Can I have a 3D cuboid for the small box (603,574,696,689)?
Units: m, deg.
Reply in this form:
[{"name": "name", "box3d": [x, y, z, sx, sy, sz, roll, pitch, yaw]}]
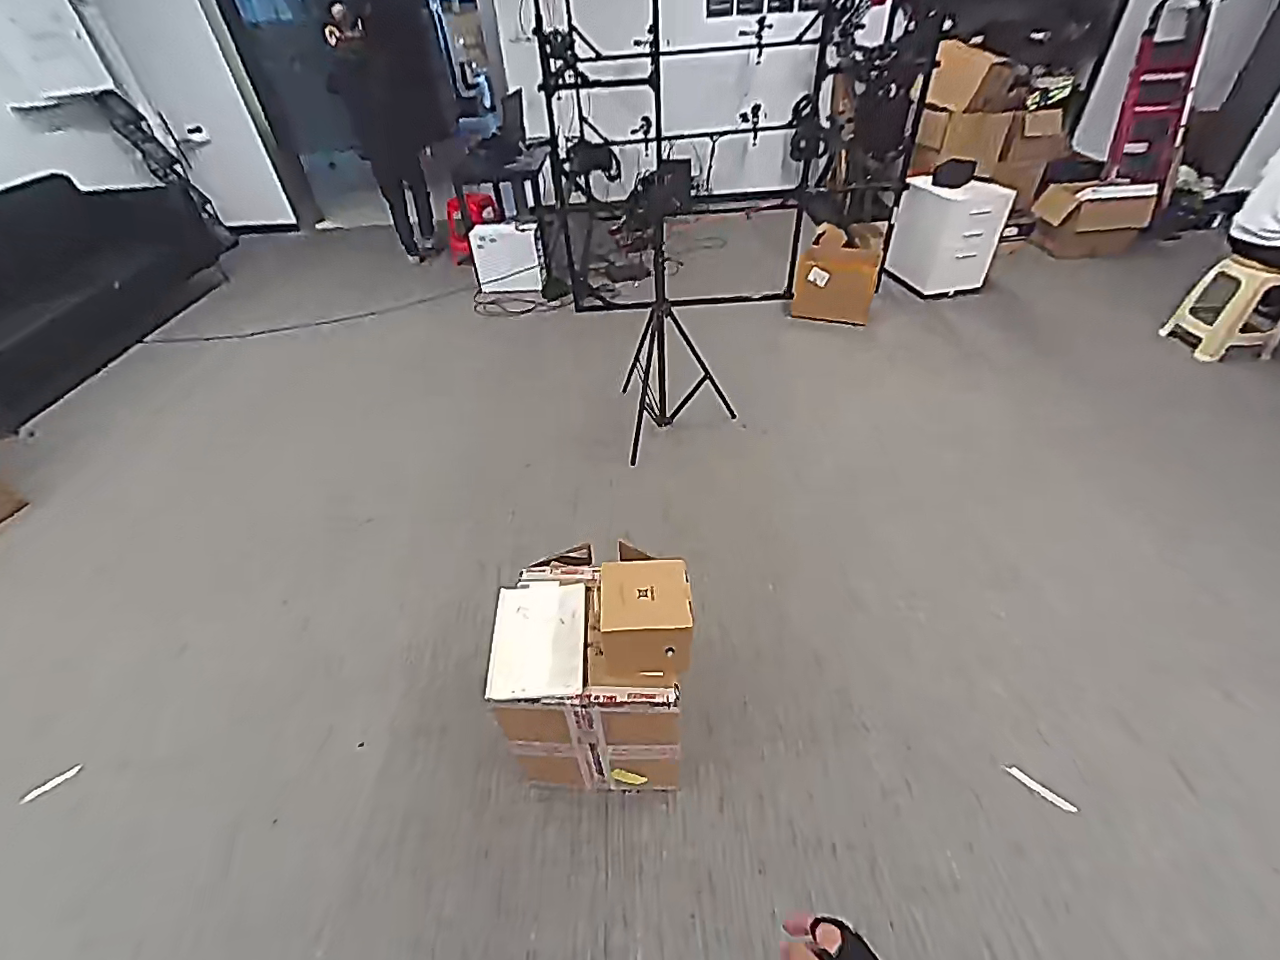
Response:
[{"name": "small box", "box3d": [0.015, 0.313, 1.112, 0.179, 0.176, 0.168, -4, 42, -1]}]
